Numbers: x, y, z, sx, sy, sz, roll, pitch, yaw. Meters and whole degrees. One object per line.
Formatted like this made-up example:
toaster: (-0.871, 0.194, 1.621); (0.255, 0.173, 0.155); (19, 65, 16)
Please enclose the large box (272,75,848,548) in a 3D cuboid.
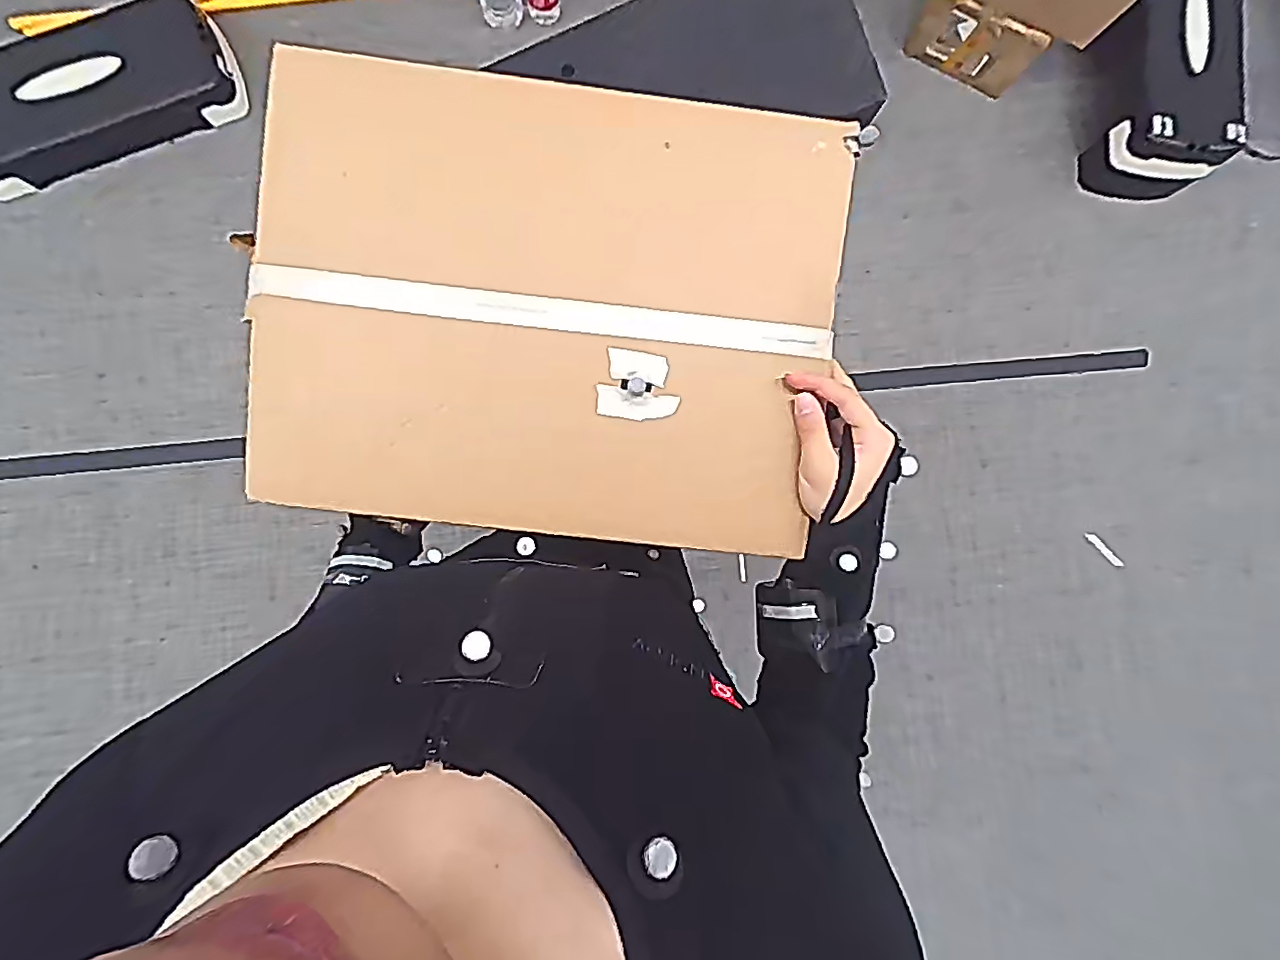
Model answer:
large box: (-0.065, -0.123, 0.541); (0.408, 0.320, 0.320); (6, 94, -3)
